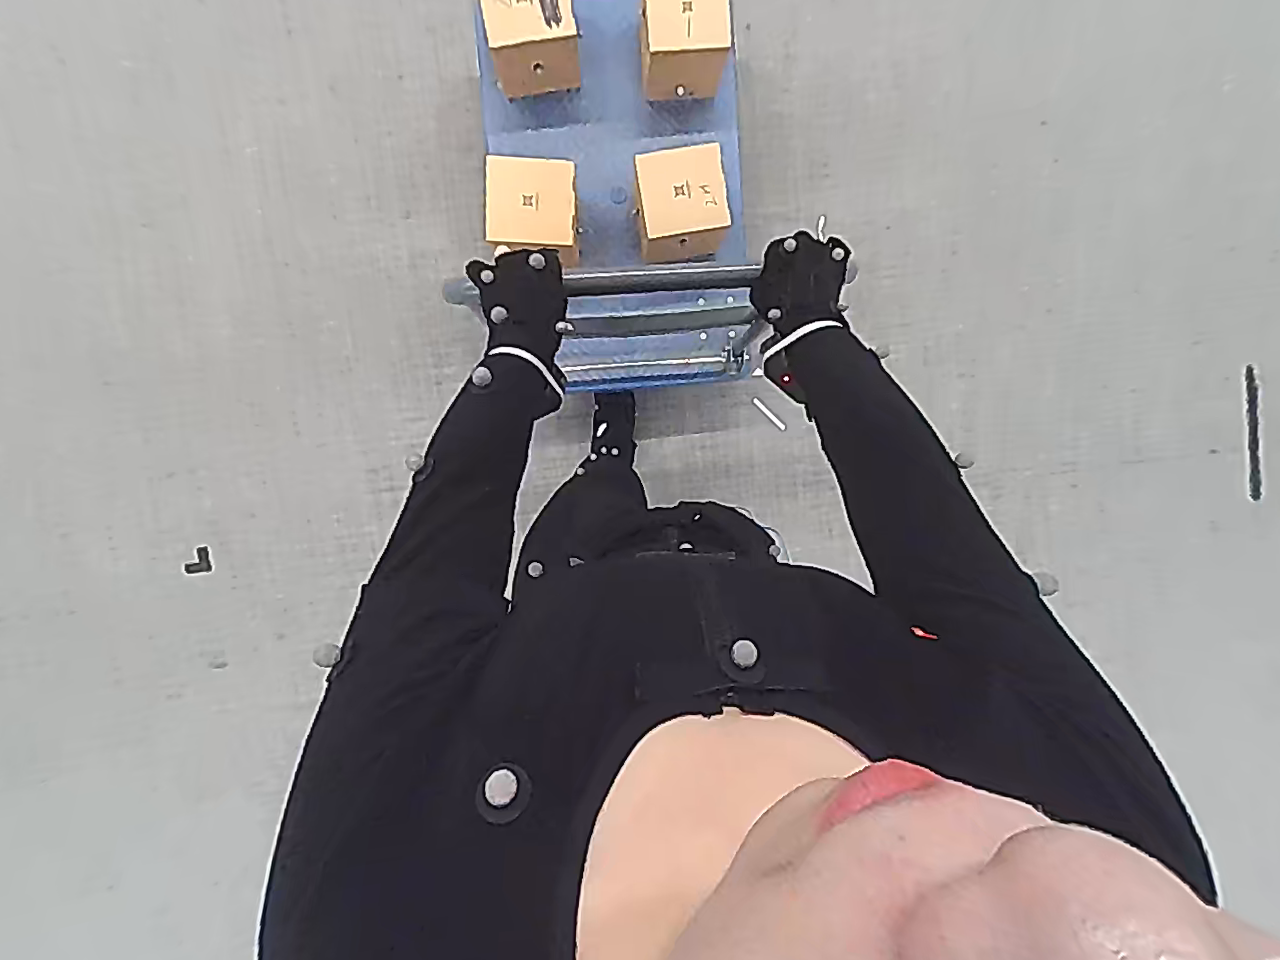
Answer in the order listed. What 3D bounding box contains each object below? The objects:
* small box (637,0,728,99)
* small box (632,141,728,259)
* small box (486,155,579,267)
[{"bbox_3d":[0.085,-0.947,1.141,0.168,0.176,0.179,-5,97,-2],"label":"small box"},{"bbox_3d":[0.080,-0.595,1.173,0.179,0.176,0.168,-10,96,-2],"label":"small box"},{"bbox_3d":[-0.225,-0.567,1.160,0.179,0.176,0.168,1,95,-5],"label":"small box"}]
